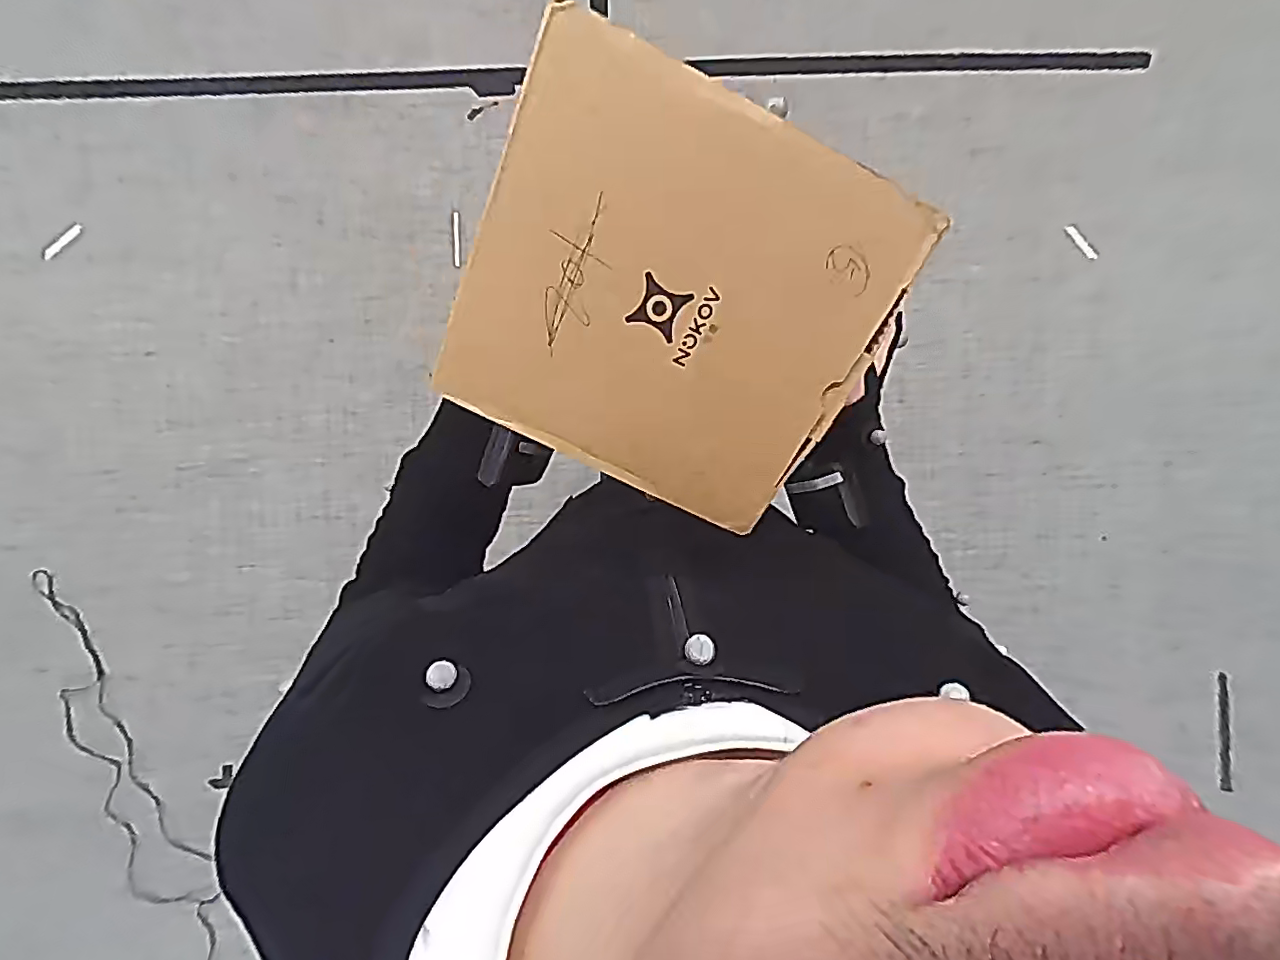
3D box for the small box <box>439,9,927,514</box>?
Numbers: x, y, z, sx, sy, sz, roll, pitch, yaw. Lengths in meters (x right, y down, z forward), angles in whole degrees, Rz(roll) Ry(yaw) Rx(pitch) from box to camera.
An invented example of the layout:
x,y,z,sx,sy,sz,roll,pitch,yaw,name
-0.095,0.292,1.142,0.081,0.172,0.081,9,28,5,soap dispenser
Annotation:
x,y,z,sx,sy,sz,roll,pitch,yaw,name
0.017,-0.114,0.320,0.179,0.176,0.168,25,113,-6,small box
